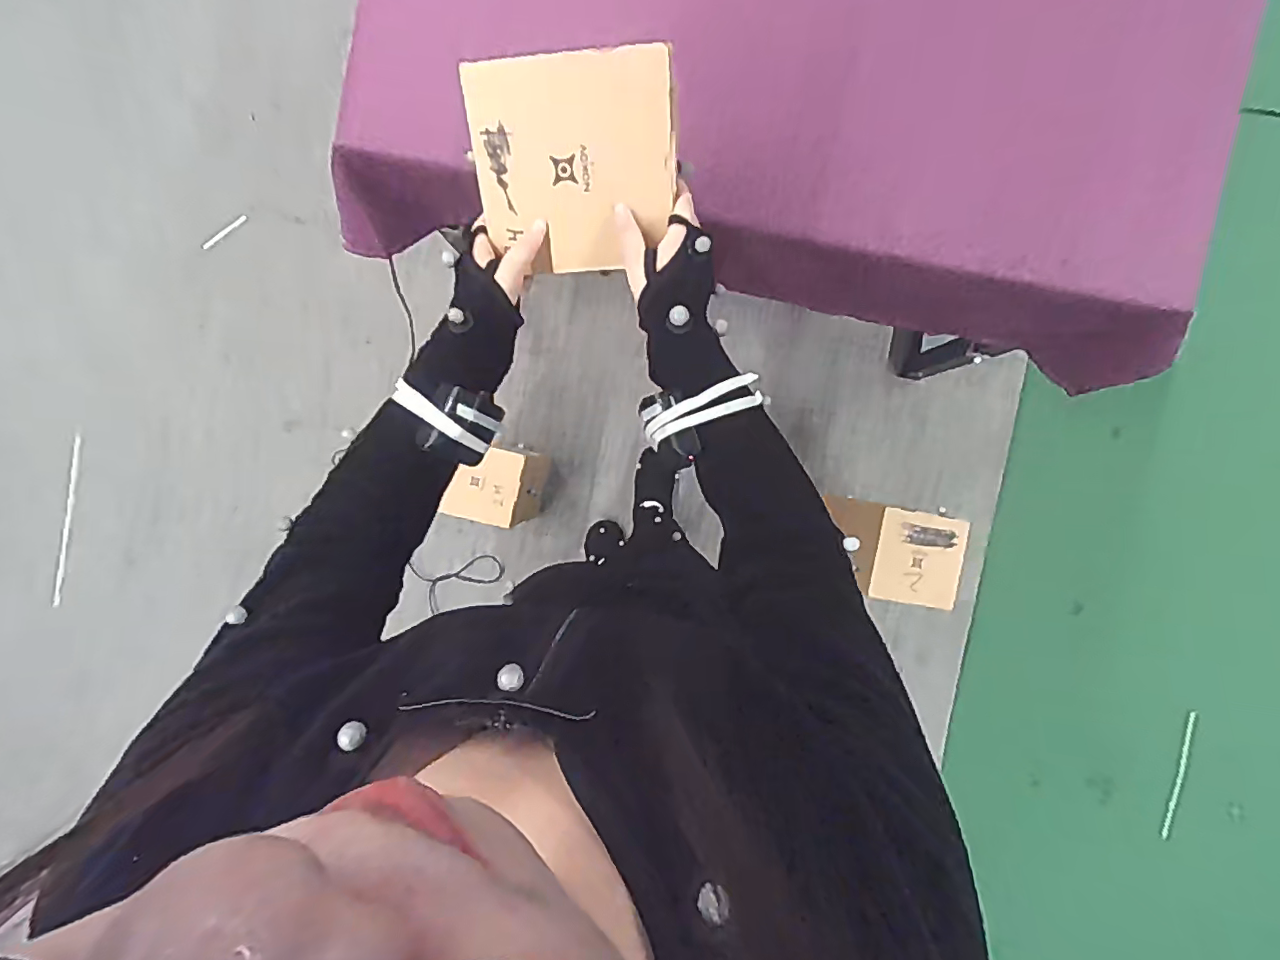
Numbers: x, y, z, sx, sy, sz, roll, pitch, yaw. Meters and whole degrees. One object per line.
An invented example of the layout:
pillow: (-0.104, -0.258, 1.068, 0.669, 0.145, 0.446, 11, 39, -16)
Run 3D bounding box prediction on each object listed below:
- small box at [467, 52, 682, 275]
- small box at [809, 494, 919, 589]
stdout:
small box: (-0.048, -0.305, 0.544, 0.179, 0.176, 0.168, -1, 116, 5)
small box: (0.510, 0.136, 1.256, 0.168, 0.176, 0.179, 12, 92, -2)
